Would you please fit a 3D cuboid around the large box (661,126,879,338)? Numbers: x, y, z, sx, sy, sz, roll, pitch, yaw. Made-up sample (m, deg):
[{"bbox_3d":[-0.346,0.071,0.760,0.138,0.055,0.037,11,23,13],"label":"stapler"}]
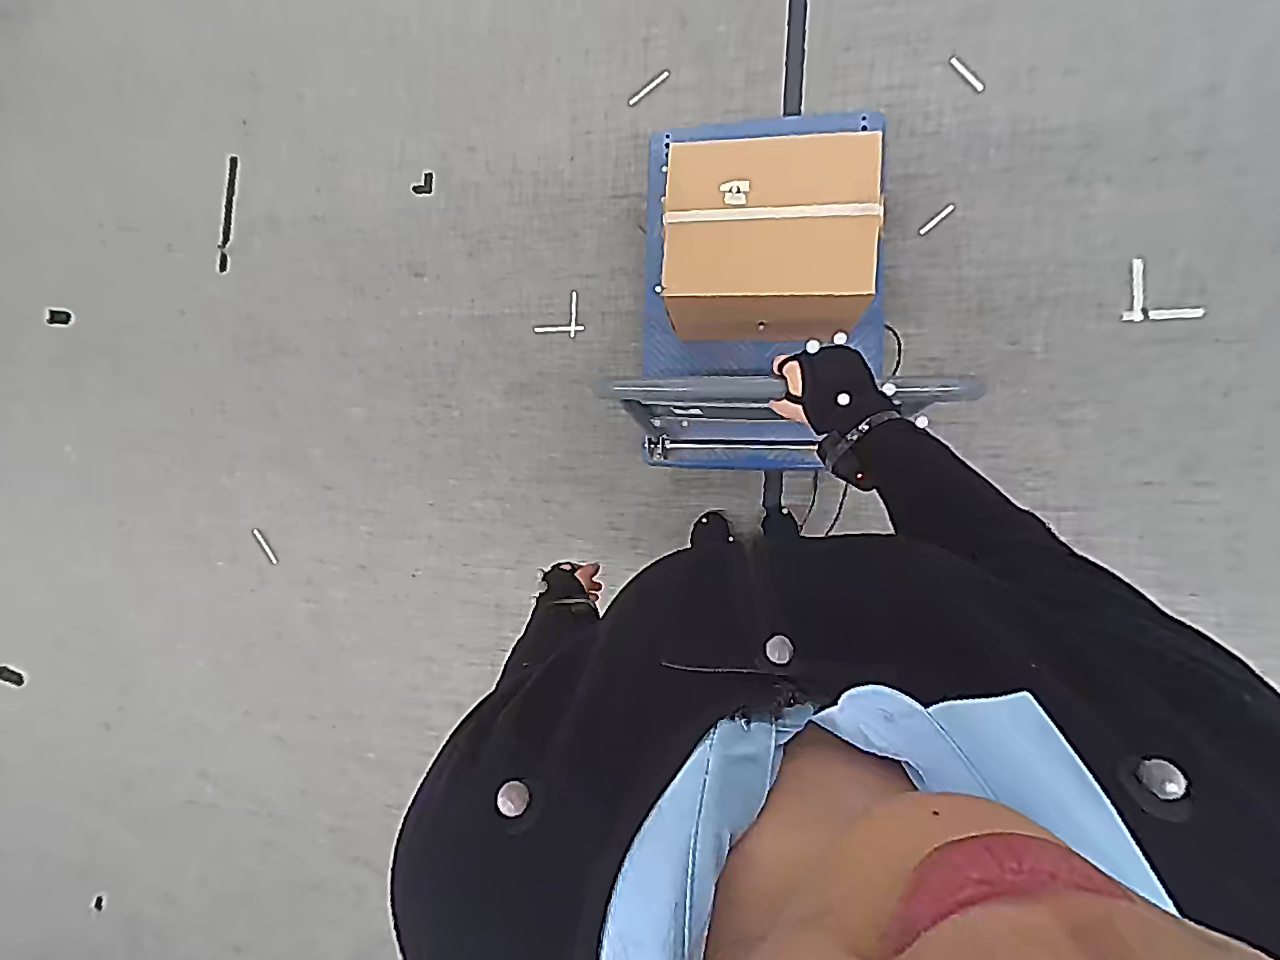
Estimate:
[{"bbox_3d":[0.273,-0.502,1.175,0.408,0.320,0.320,3,87,12],"label":"large box"}]
